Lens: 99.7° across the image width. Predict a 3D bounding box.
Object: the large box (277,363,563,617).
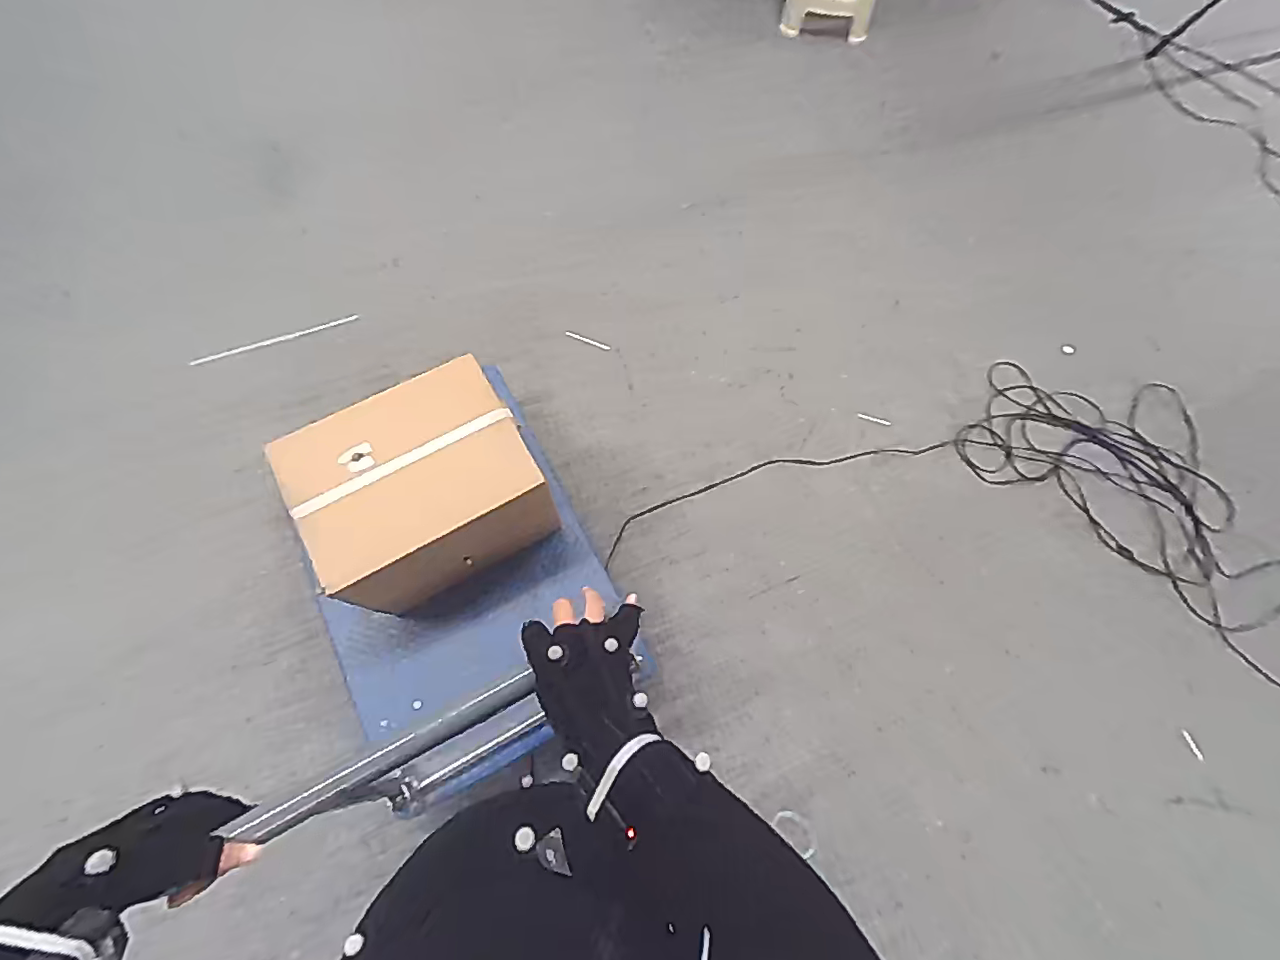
[{"bbox_3d":[-0.417,0.035,1.116,0.408,0.320,0.320,-29,72,-12],"label":"large box"}]
